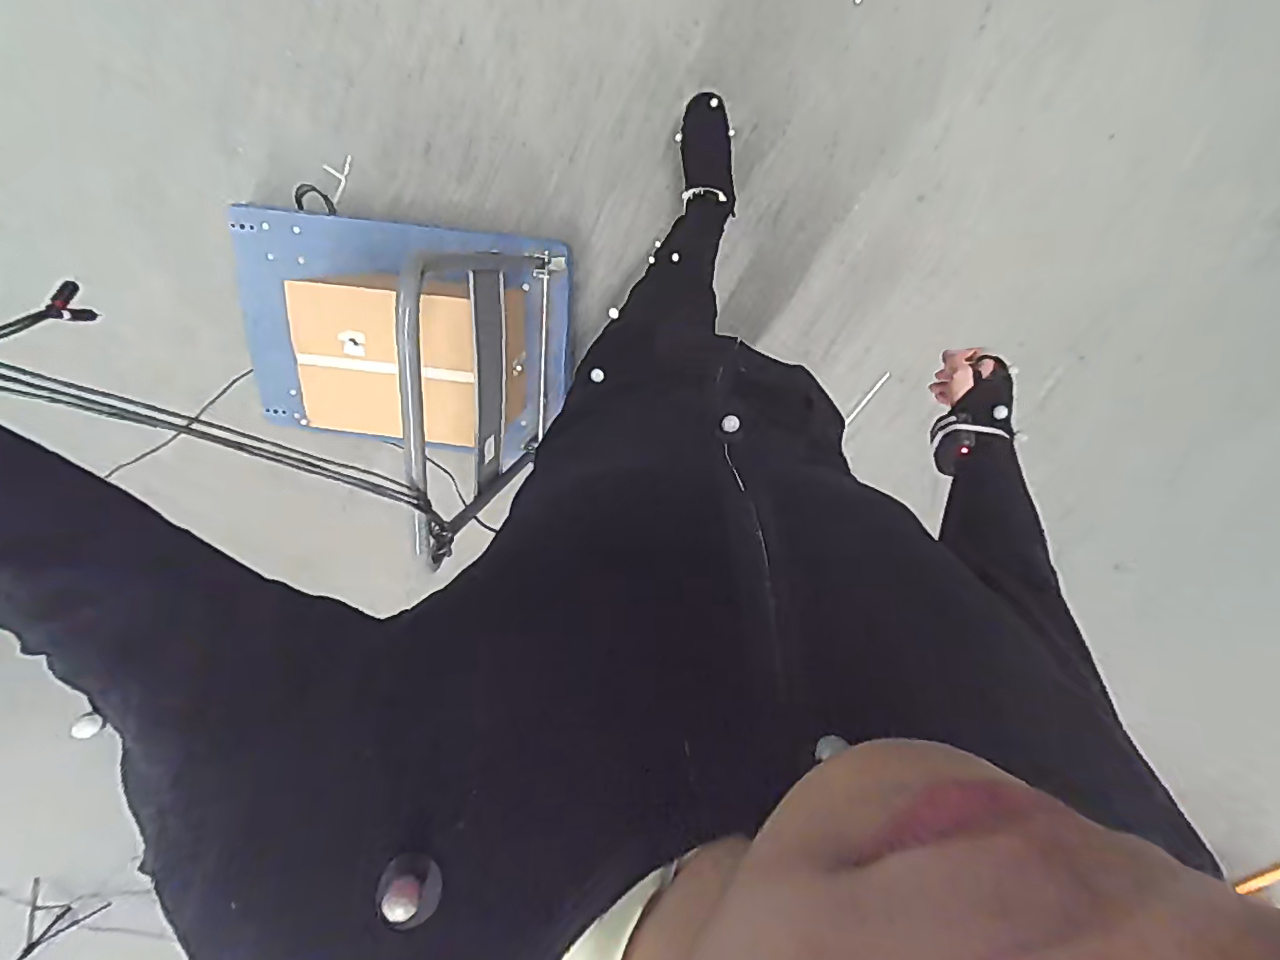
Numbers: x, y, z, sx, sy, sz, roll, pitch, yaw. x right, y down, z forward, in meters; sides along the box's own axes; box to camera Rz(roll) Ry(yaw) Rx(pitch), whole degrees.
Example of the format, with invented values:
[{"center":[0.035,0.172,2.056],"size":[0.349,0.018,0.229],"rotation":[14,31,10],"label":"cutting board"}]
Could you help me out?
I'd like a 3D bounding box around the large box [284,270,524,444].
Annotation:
[{"center":[-0.509,-0.300,1.257],"size":[0.408,0.320,0.320],"rotation":[8,114,4],"label":"large box"}]
